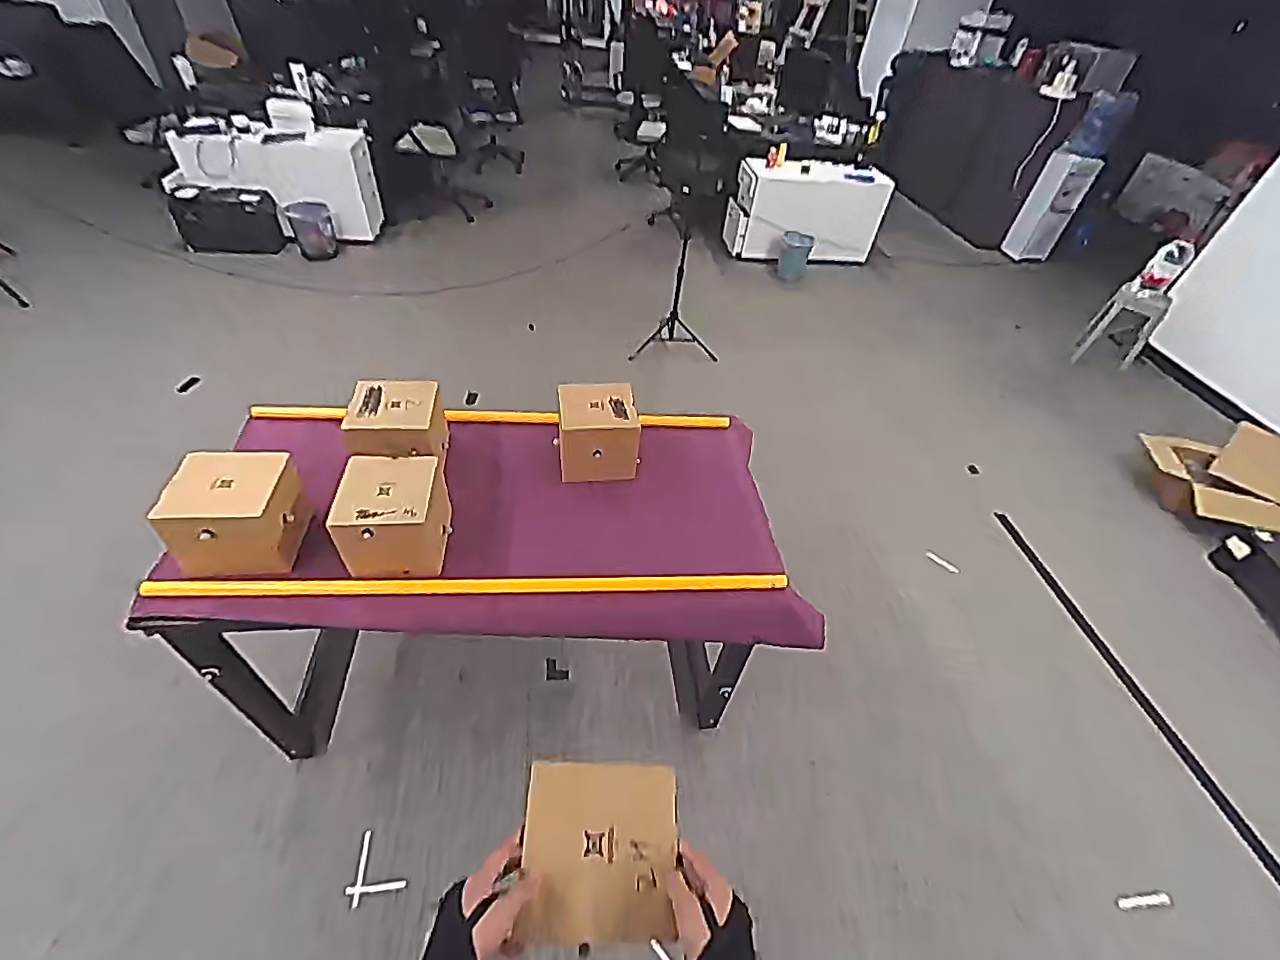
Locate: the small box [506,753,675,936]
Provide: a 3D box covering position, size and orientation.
[{"bbox_3d":[-0.056,0.443,0.658,0.179,0.176,0.168,5,53,-5],"label":"small box"}]

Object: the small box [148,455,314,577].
[{"bbox_3d":[-0.749,0.069,1.019,0.179,0.176,0.168,-1,45,-9],"label":"small box"}]

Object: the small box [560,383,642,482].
[{"bbox_3d":[-0.099,-0.112,1.280,0.179,0.176,0.168,-3,47,-9],"label":"small box"}]

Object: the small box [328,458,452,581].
[{"bbox_3d":[-0.470,0.075,1.048,0.168,0.176,0.179,-1,45,-7],"label":"small box"}]
